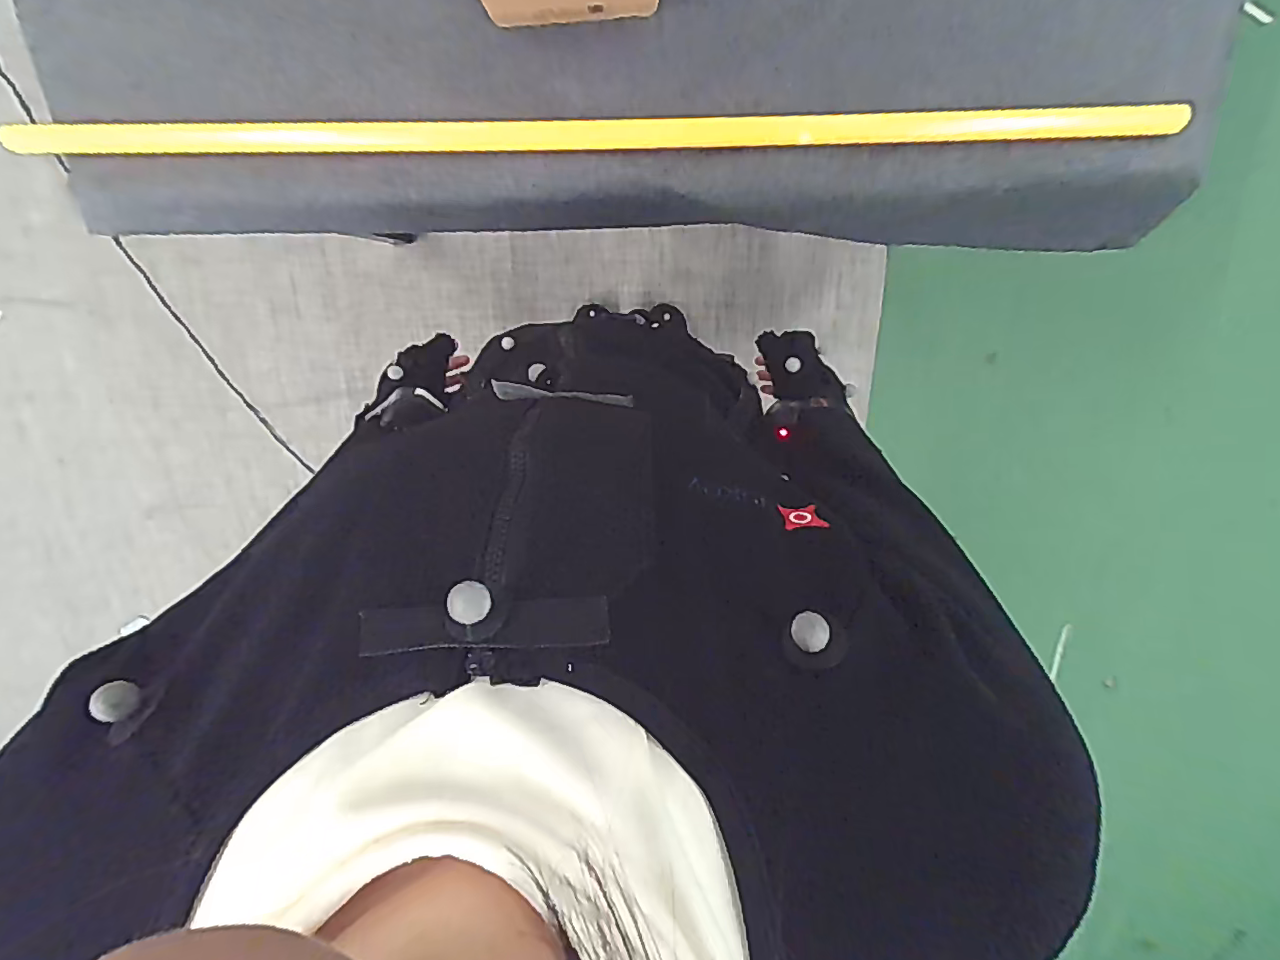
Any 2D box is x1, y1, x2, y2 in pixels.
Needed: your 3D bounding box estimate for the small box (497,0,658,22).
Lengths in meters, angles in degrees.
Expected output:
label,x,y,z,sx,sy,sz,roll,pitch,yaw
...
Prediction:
label,x,y,z,sx,sy,sz,roll,pitch,yaw
small box,-0.067,-0.519,0.435,0.168,0.176,0.179,-3,108,3
